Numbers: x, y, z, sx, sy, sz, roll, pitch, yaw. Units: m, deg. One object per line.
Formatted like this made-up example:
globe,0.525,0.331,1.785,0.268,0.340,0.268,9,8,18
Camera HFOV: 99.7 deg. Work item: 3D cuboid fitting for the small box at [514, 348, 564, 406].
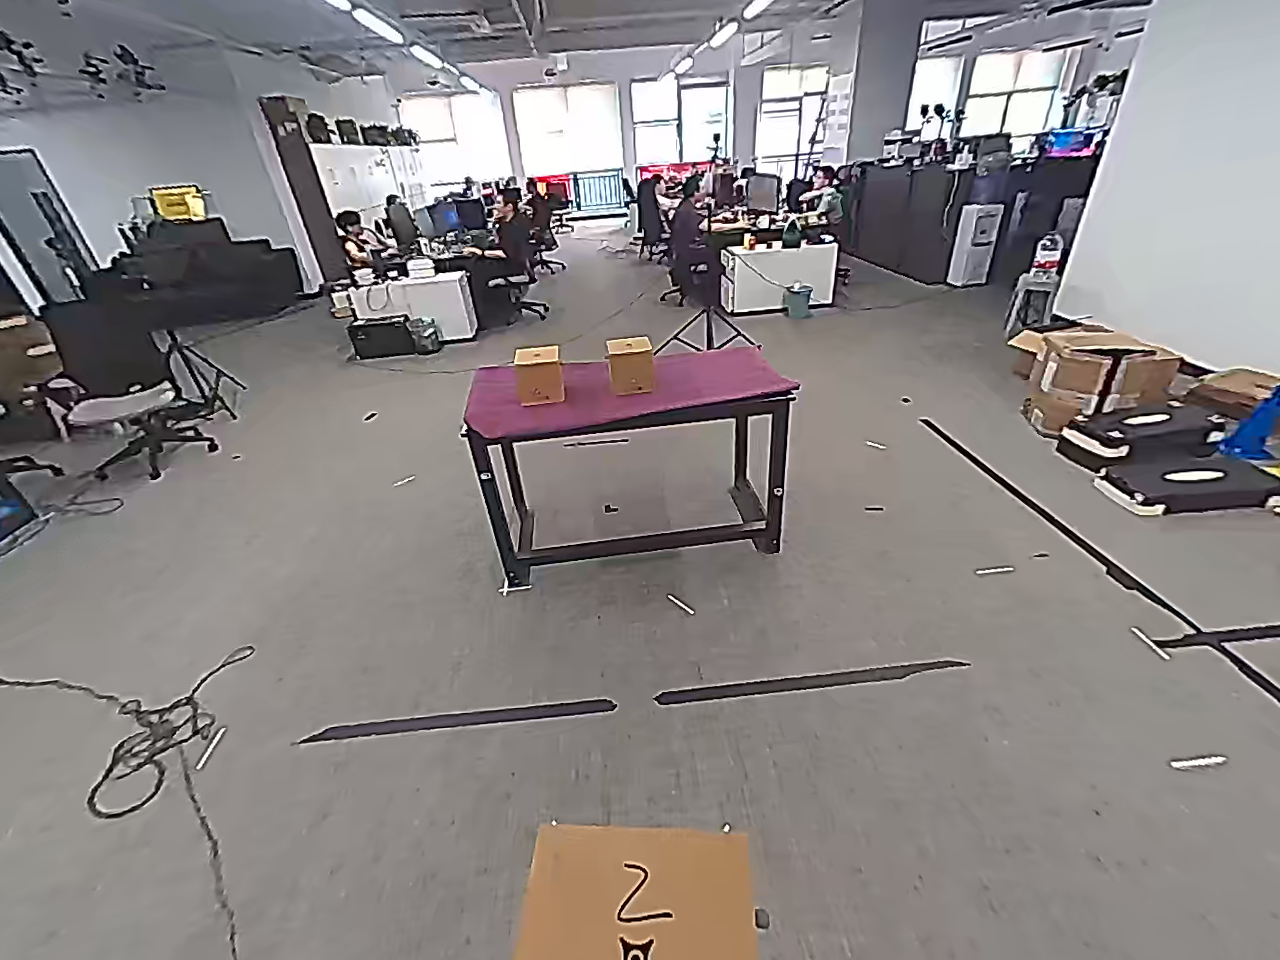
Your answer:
small box,-0.388,-0.399,2.099,0.168,0.176,0.179,-7,33,-5

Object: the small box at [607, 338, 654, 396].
small box,-0.038,-0.444,2.123,0.168,0.176,0.179,-8,32,-3
